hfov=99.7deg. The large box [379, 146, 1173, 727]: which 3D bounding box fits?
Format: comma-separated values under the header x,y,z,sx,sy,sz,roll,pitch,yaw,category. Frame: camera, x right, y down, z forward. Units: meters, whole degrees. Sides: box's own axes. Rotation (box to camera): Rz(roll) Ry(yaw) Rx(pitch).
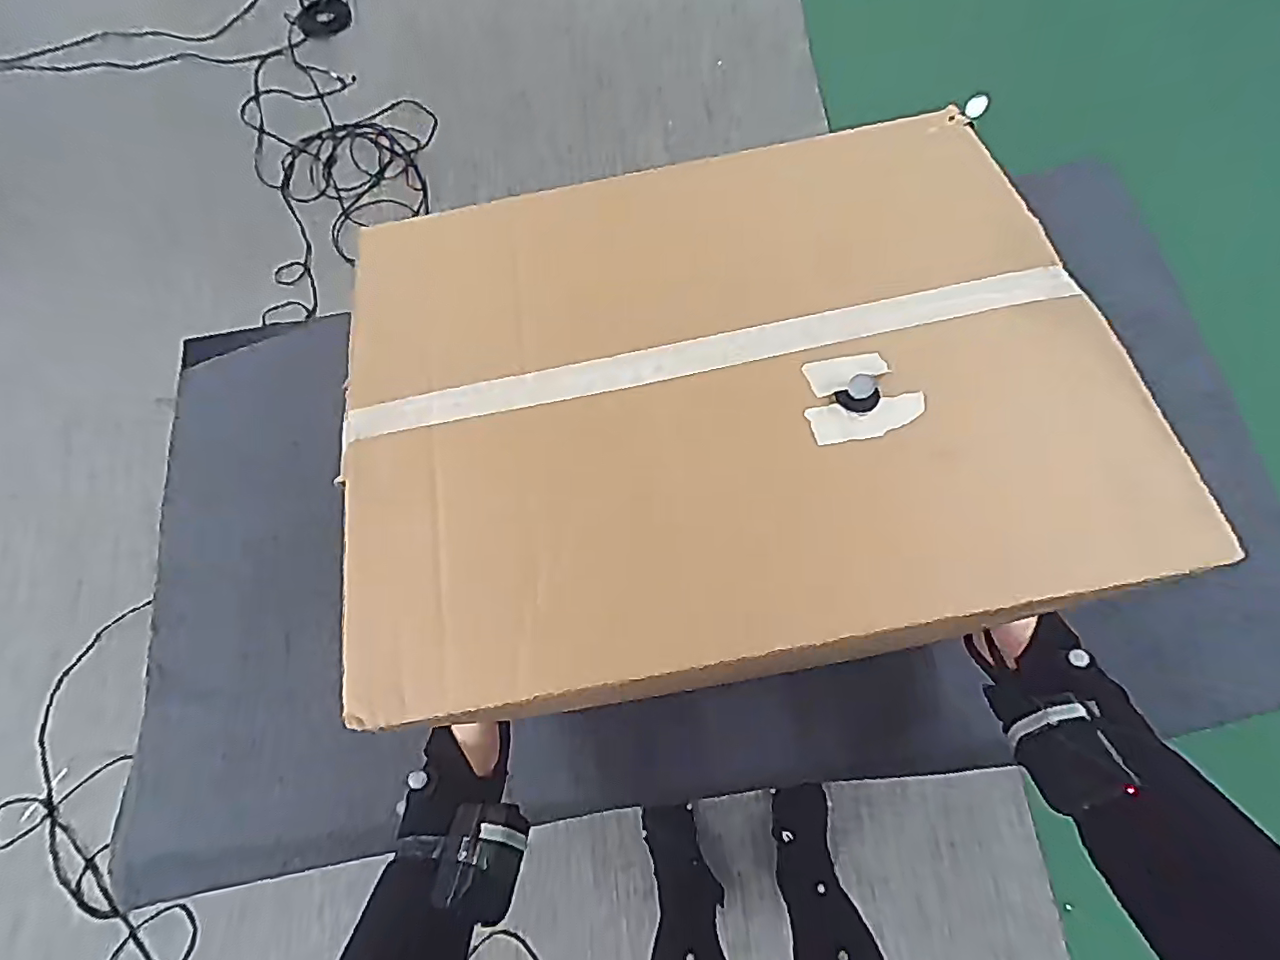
x,y,z,sx,sy,sz,roll,pitch,yaw,category
0.051,0.000,0.457,0.408,0.320,0.320,-11,68,0,large box
